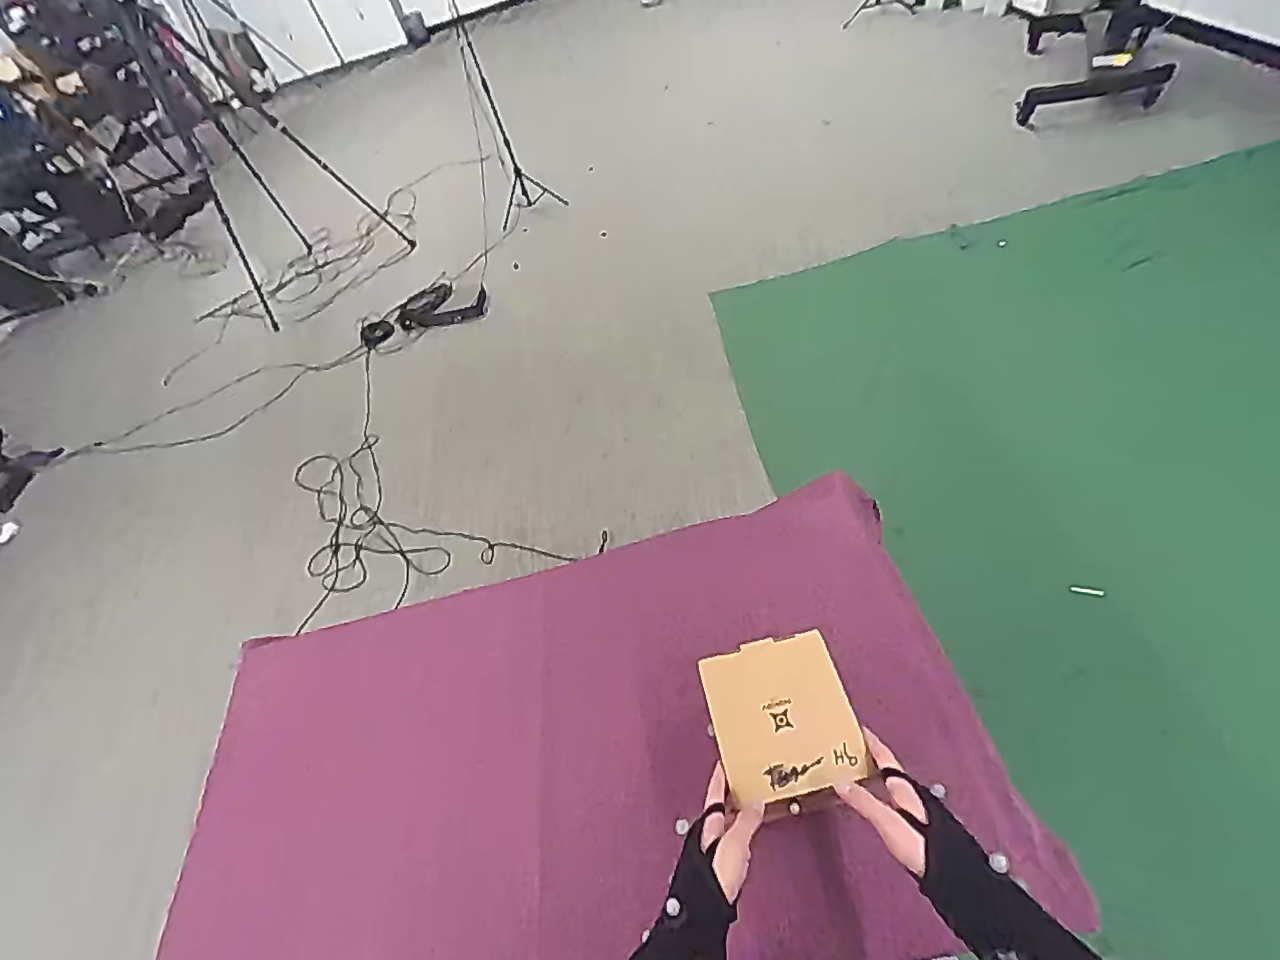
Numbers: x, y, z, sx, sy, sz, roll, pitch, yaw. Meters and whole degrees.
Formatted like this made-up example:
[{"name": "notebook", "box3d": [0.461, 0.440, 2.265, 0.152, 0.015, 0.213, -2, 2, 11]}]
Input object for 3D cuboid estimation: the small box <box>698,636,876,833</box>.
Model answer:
[{"name": "small box", "box3d": [0.183, 0.334, 0.705, 0.168, 0.176, 0.179, -17, 50, 4]}]
